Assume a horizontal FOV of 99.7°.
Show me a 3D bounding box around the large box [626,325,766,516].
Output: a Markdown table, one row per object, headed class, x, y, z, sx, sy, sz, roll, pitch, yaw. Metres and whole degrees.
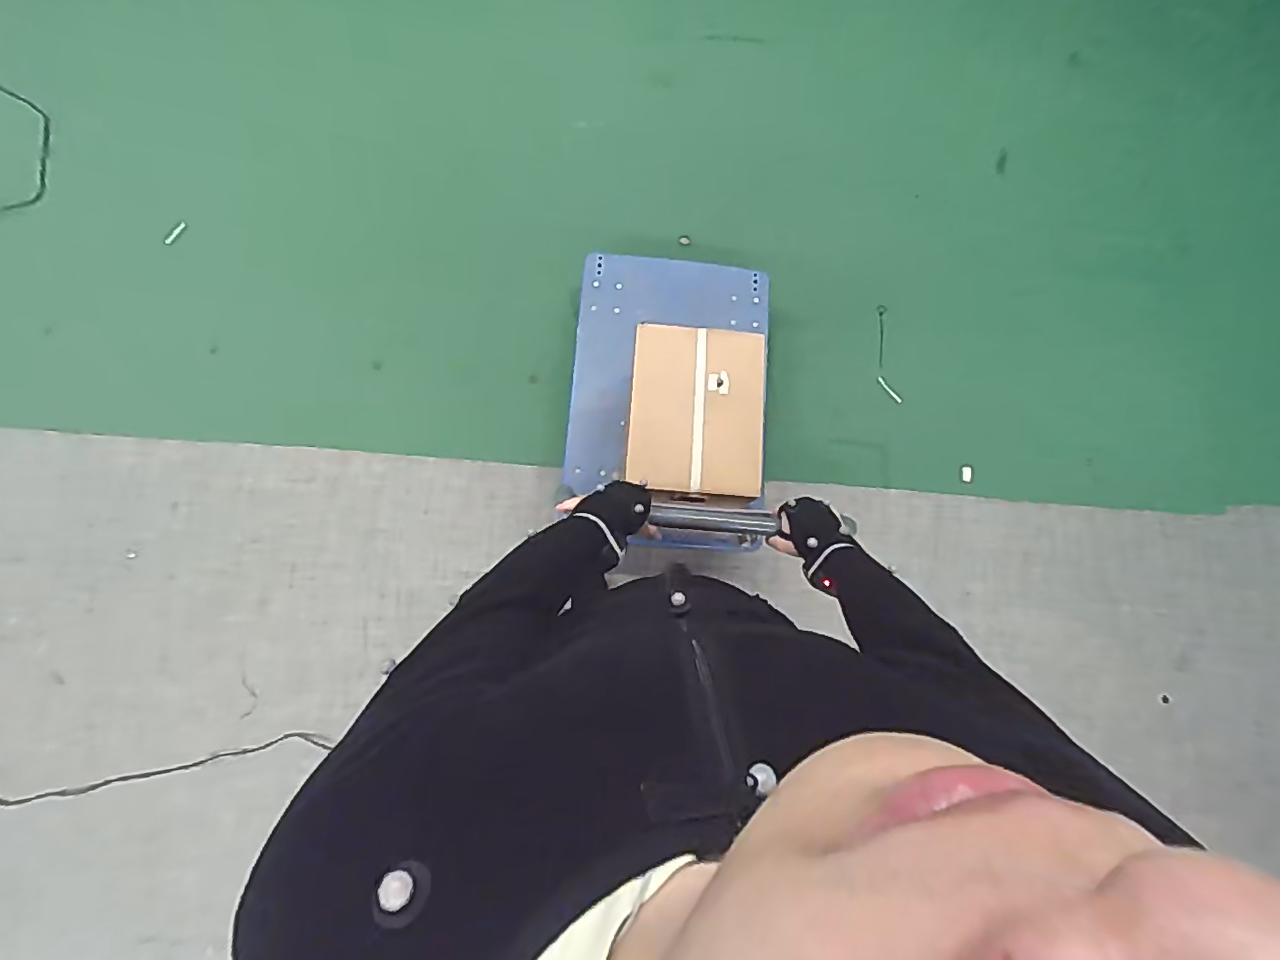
| class | x | y | z | sx | sy | sz | roll | pitch | yaw |
| --- | --- | --- | --- | --- | --- | --- | --- | --- | --- |
| large box | 0.129 | -0.130 | 1.386 | 0.320 | 0.320 | 0.408 | 5 | 78 | -4 |
